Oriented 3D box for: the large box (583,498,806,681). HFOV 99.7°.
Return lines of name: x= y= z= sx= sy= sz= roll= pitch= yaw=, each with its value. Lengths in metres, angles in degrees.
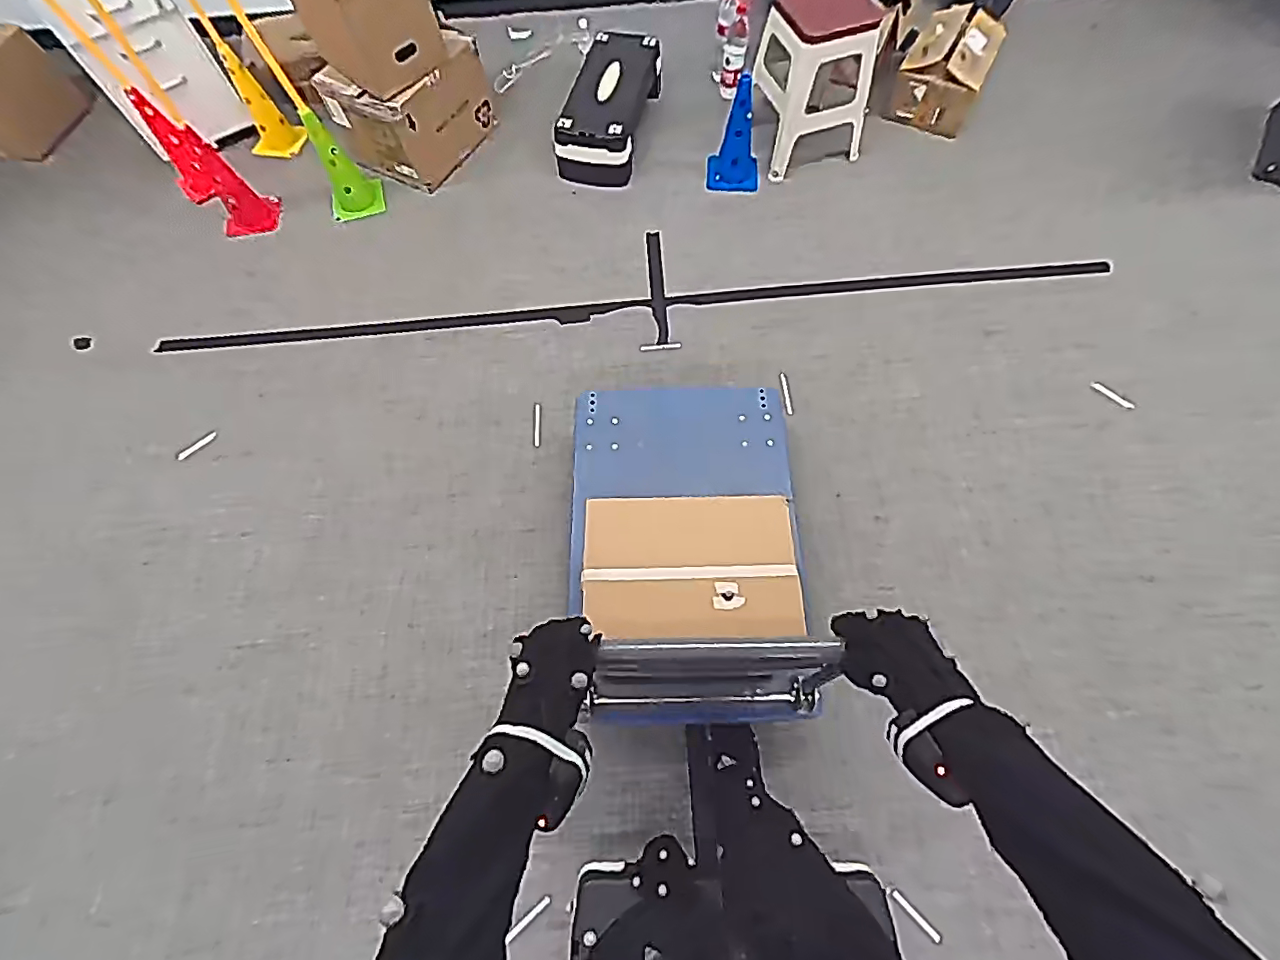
large box: x=0.091 y=0.244 z=1.146 sx=0.408 sy=0.320 sz=0.320 roll=-1 pitch=66 yaw=0
